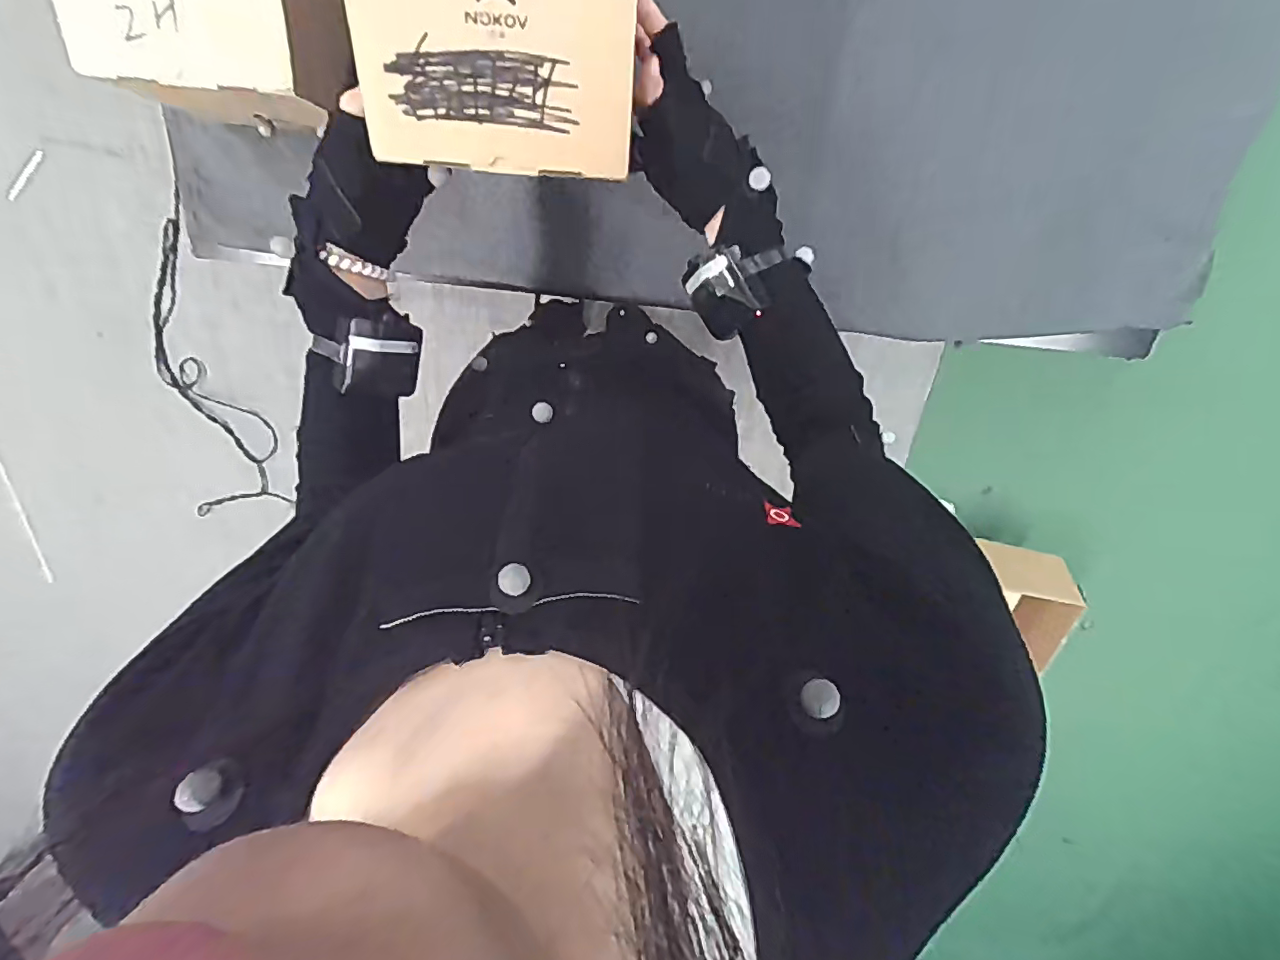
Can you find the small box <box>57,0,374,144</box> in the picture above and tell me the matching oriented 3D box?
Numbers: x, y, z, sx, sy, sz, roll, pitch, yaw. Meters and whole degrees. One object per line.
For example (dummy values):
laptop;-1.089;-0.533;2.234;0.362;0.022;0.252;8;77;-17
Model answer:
small box;-0.351;-0.414;0.468;0.168;0.176;0.179;2;113;-6
